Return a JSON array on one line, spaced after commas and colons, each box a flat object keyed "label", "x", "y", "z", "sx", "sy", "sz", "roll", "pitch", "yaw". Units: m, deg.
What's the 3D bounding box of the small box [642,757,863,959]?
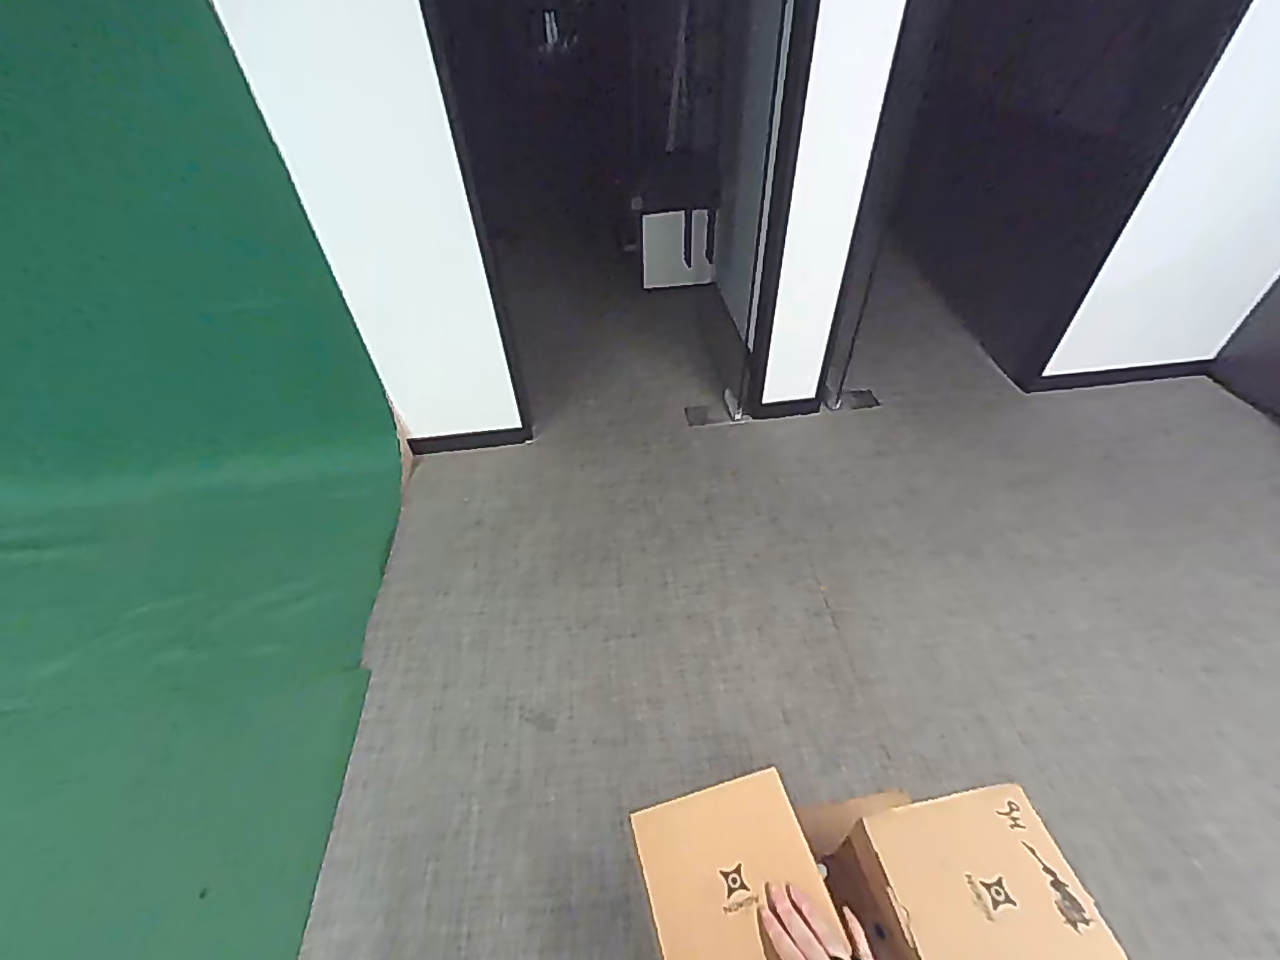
[{"label": "small box", "x": 0.100, "y": 0.435, "z": 0.582, "sx": 0.168, "sy": 0.176, "sz": 0.179, "roll": -12, "pitch": 47, "yaw": -11}]
